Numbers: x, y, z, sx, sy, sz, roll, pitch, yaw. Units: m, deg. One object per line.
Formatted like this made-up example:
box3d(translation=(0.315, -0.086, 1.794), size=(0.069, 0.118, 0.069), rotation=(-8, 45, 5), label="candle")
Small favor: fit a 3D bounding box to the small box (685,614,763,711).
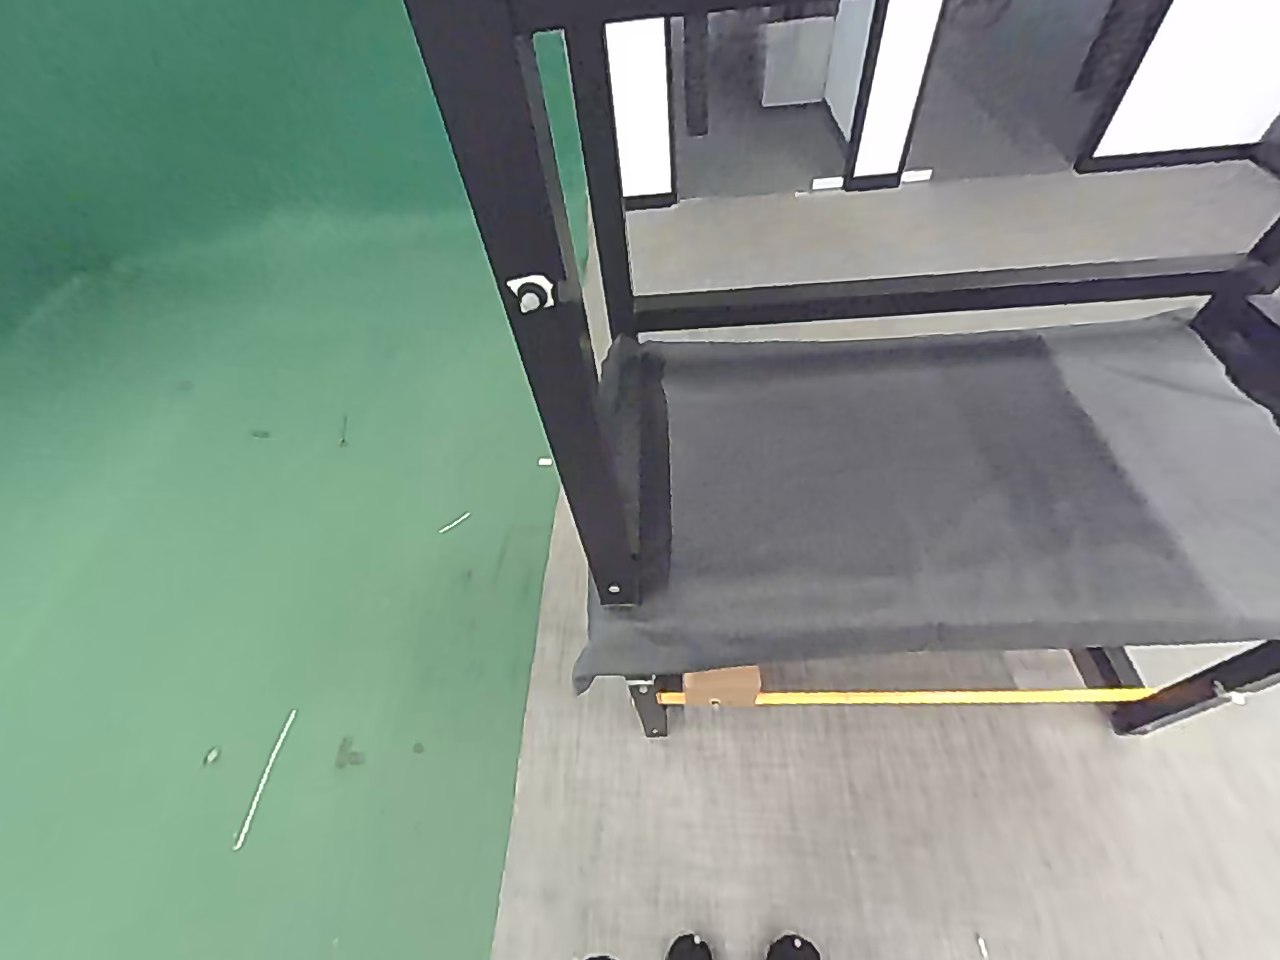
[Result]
box3d(translation=(0.191, 0.433, 1.277), size=(0.168, 0.176, 0.179), rotation=(-3, 53, 4), label="small box")
